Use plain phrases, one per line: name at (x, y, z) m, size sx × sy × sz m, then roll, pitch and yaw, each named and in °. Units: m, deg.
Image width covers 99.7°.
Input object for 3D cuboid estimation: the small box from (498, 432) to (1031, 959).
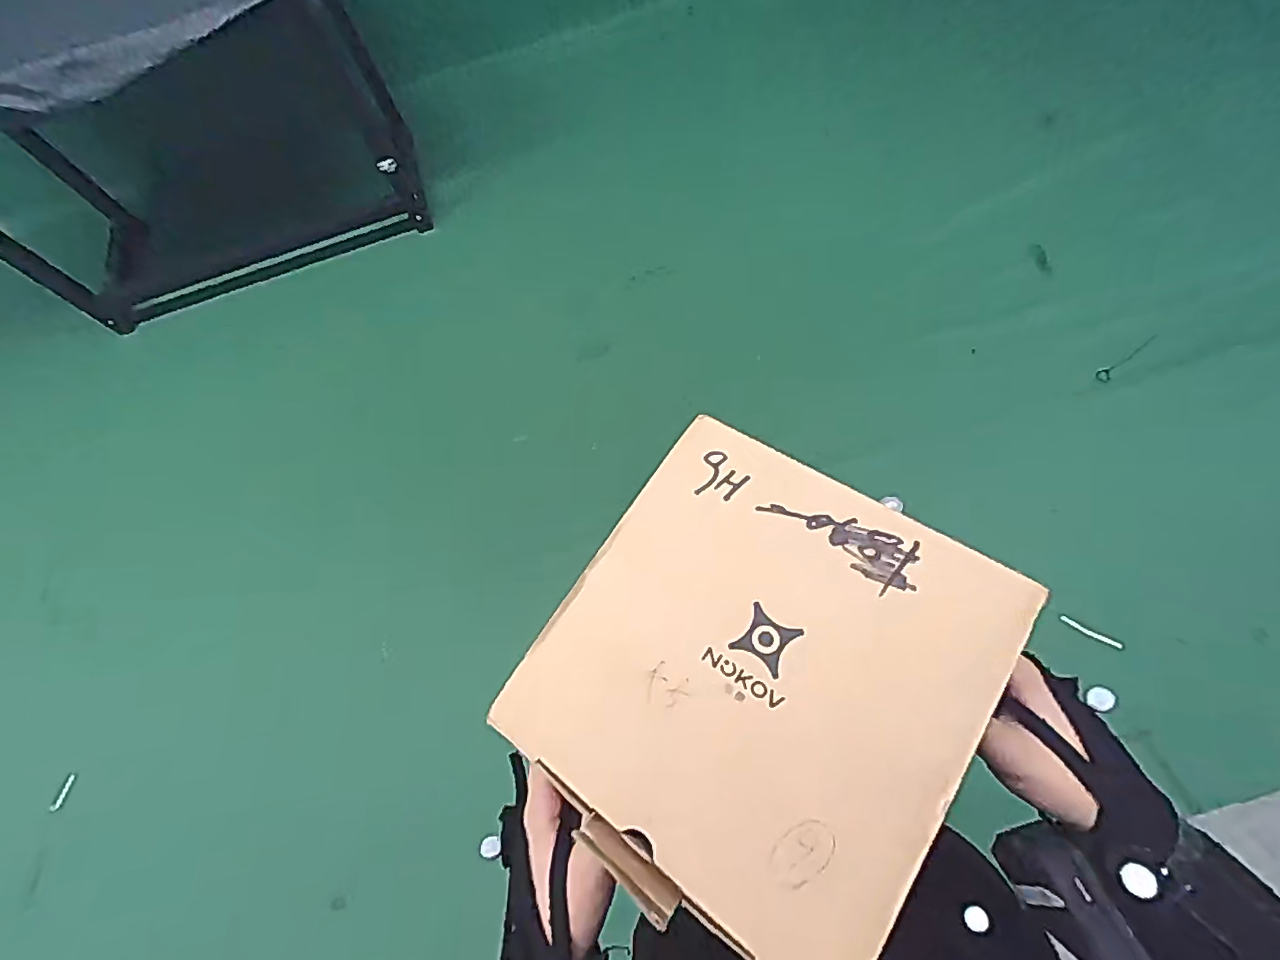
small box at (0.063, 0.111, 0.302) m, size 0.168 × 0.176 × 0.179 m, roll 30°, pitch 77°, yaw 22°
